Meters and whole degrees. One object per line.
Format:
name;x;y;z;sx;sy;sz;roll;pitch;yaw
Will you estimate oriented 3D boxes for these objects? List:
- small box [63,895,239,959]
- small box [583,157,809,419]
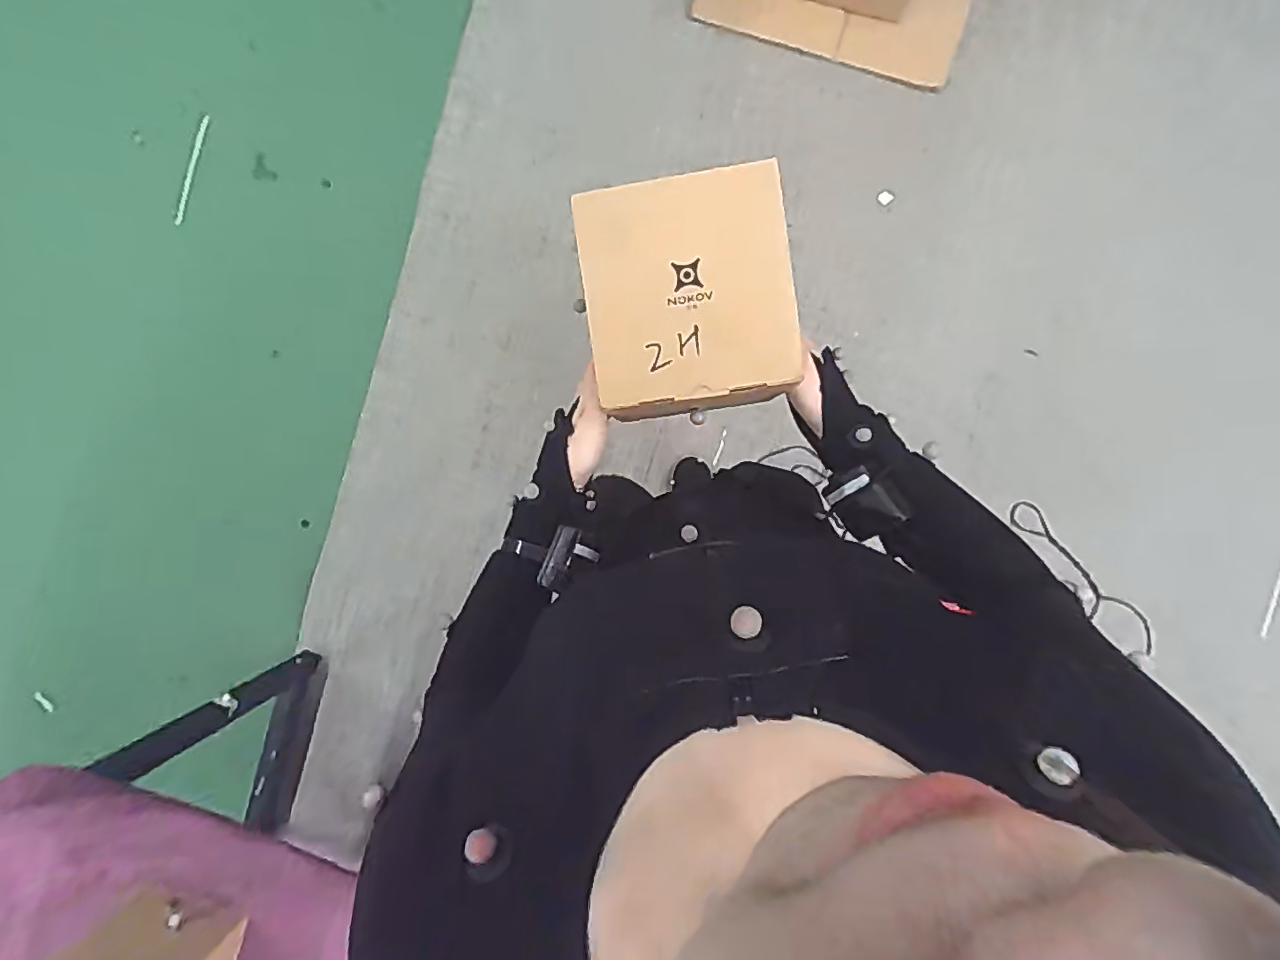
small box;-0.688;0.721;0.725;0.168;0.176;0.179;17;92;2
small box;0.047;-0.159;0.504;0.168;0.176;0.179;-7;92;4
